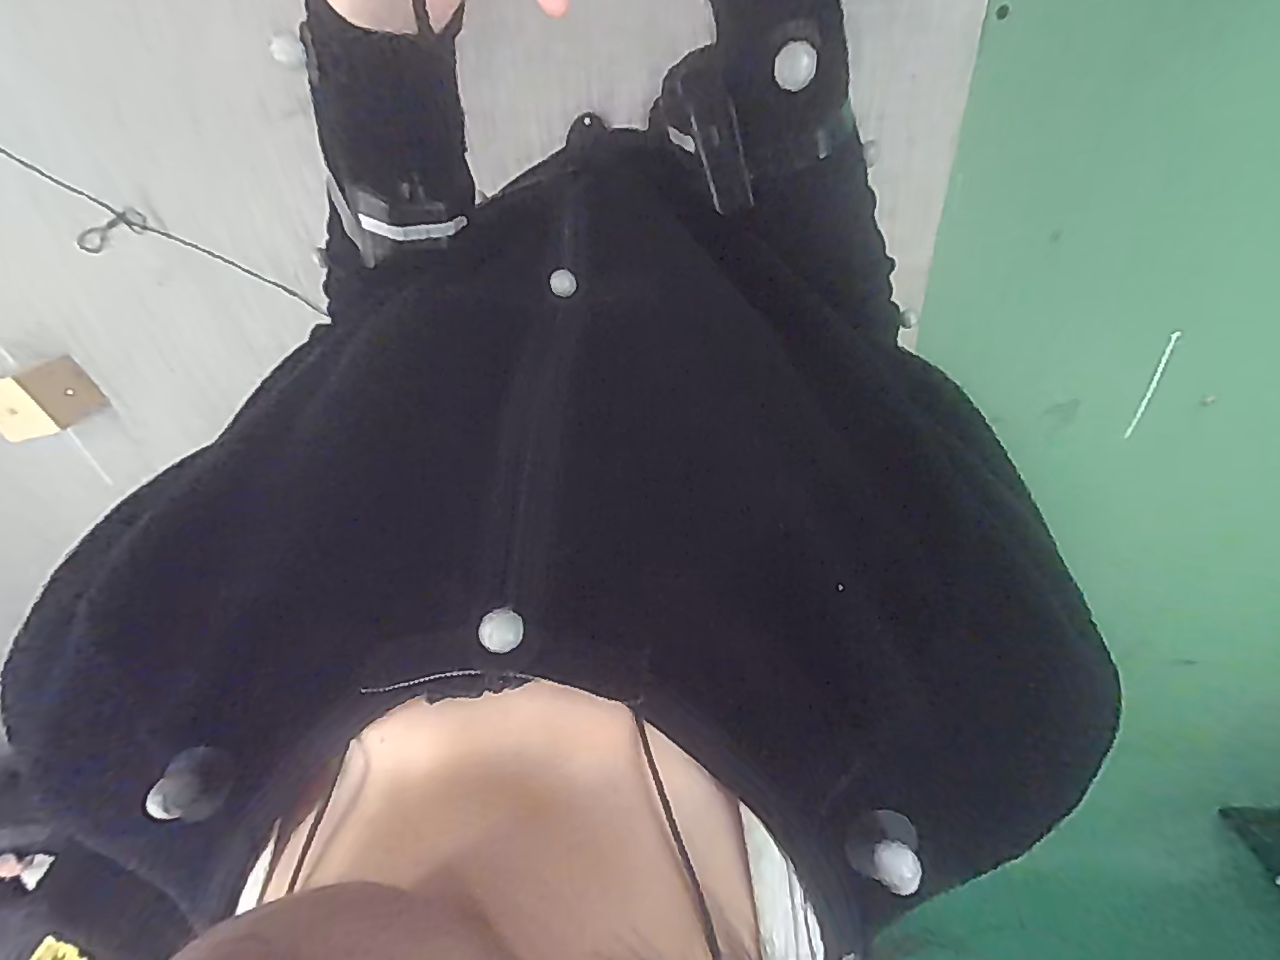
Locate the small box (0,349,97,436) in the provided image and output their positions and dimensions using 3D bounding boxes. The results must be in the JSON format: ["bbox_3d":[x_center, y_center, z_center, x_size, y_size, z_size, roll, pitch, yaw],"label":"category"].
[{"bbox_3d":[-1.674,-0.245,1.490,0.179,0.176,0.168,-9,124,8],"label":"small box"}]
